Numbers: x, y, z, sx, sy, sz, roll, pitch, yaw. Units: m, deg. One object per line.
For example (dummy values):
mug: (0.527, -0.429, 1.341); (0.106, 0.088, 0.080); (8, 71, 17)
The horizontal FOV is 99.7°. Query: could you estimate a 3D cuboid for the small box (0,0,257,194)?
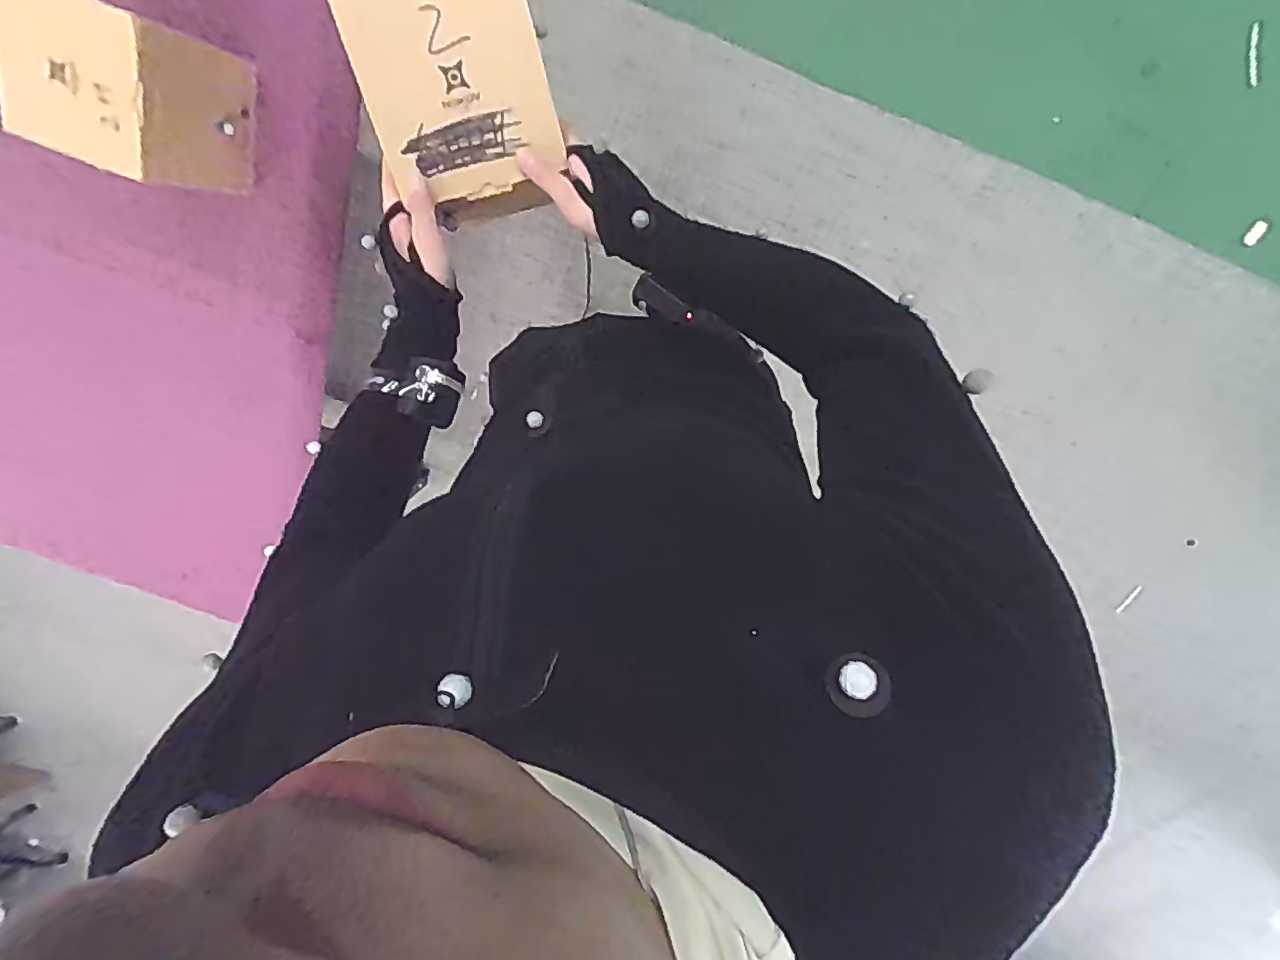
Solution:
small box: (-0.629, -0.475, 0.675); (0.179, 0.176, 0.168); (21, 114, -2)
